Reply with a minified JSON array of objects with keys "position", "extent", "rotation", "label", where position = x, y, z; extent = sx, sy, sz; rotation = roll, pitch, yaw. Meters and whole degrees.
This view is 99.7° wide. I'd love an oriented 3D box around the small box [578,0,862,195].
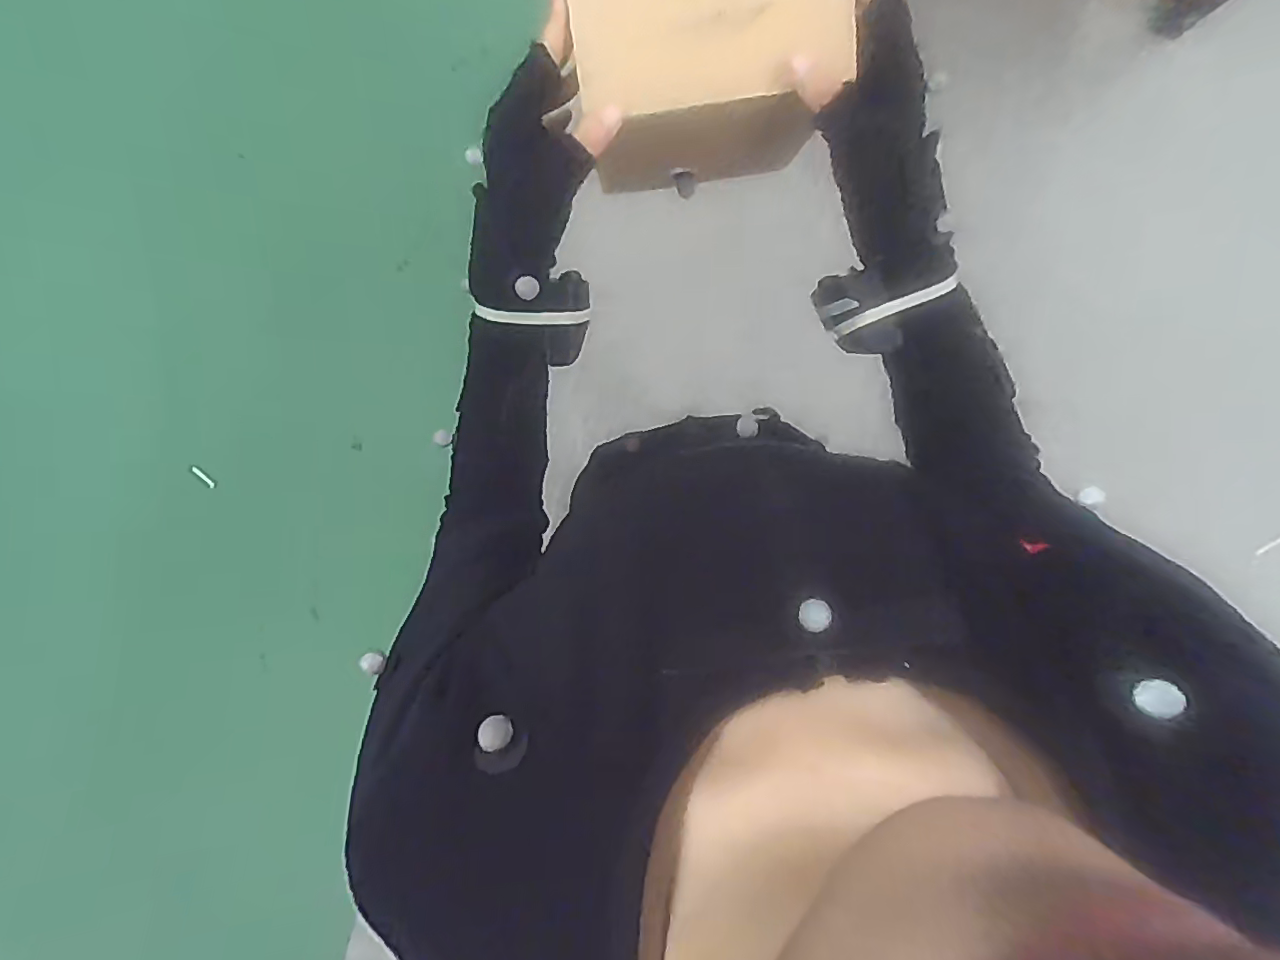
[{"position":[0.042,-0.329,0.384],"extent":[0.168,0.176,0.179],"rotation":[-7,104,2],"label":"small box"}]
